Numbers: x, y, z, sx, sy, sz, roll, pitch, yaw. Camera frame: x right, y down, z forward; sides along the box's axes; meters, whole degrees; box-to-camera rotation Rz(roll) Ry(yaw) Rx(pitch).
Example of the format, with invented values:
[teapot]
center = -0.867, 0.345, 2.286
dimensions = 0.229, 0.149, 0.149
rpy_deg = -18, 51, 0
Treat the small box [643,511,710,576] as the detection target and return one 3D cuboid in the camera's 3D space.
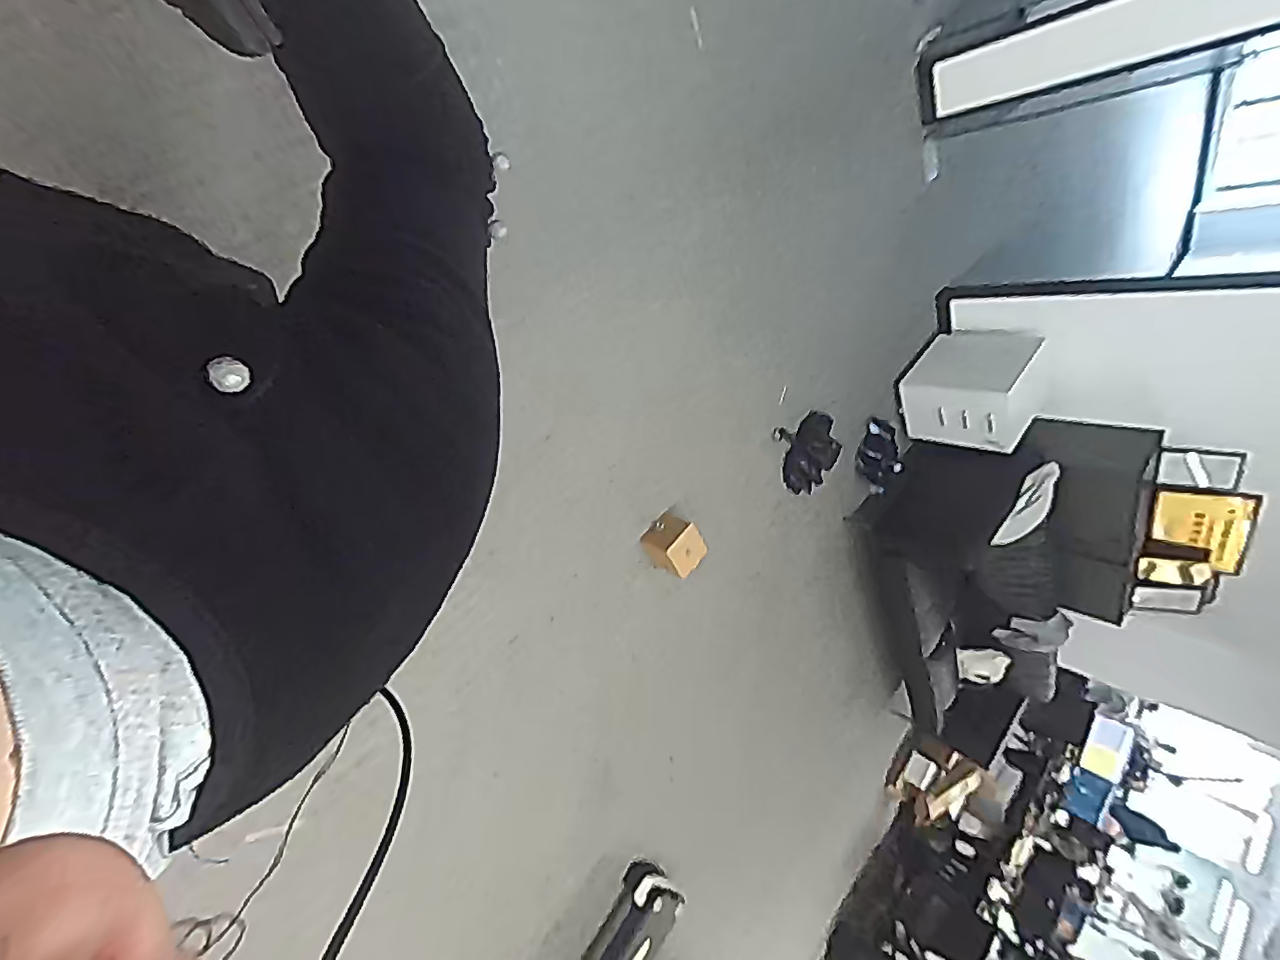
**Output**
[small box]
center = 0.146, 0.249, 2.172
dimensions = 0.168, 0.176, 0.179
rpy_deg = -48, 126, -22
